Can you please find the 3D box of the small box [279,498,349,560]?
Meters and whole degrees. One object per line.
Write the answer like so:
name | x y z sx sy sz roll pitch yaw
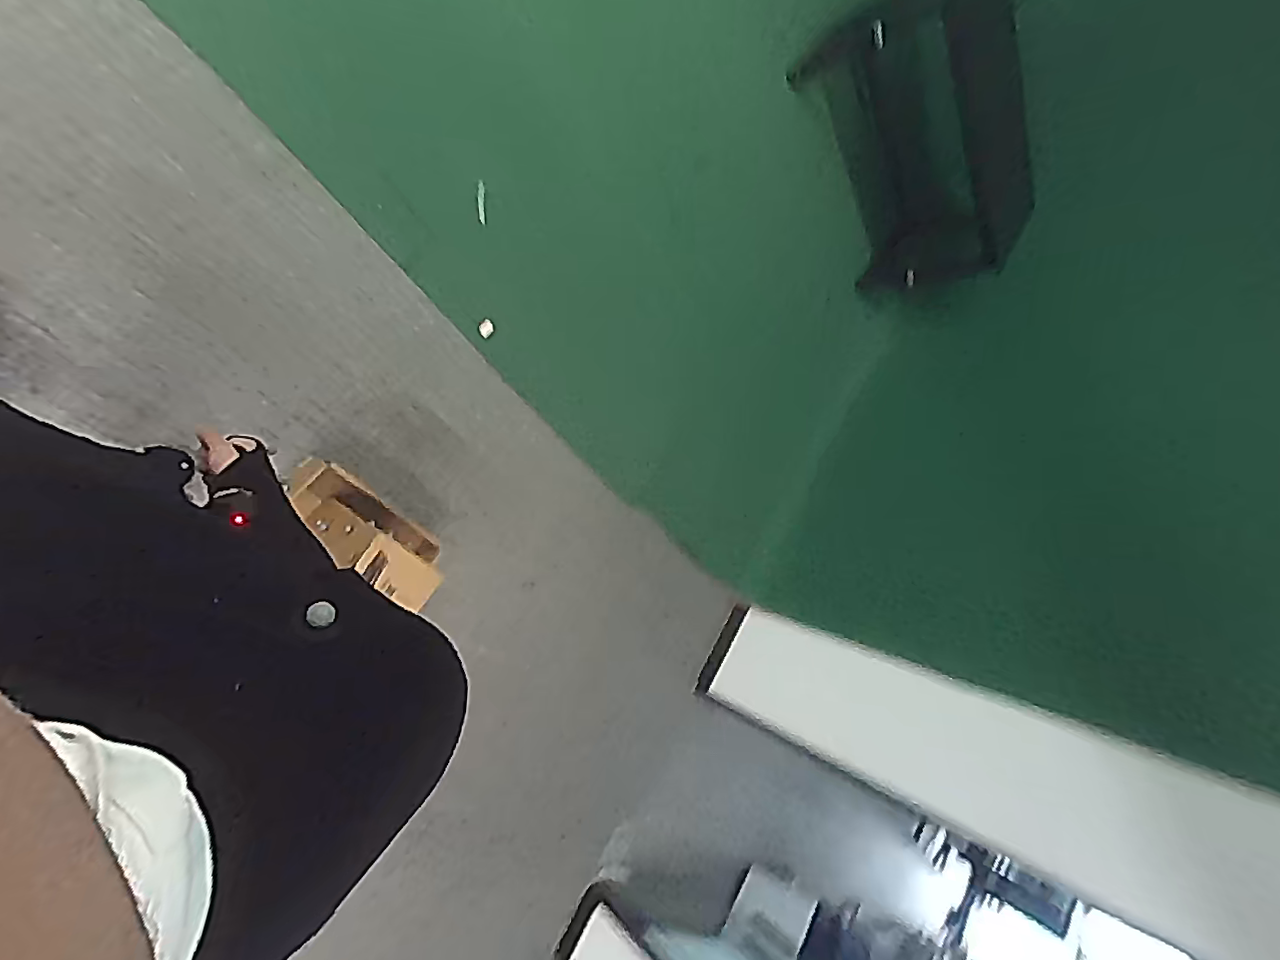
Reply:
small box | -0.786 0.165 1.394 0.168 0.176 0.179 -53 129 -21

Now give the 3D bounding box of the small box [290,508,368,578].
small box | -0.679 0.185 1.272 0.168 0.176 0.179 -53 128 -22

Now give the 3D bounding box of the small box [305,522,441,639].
small box | -0.571 0.205 1.150 0.168 0.176 0.179 -55 129 -20
